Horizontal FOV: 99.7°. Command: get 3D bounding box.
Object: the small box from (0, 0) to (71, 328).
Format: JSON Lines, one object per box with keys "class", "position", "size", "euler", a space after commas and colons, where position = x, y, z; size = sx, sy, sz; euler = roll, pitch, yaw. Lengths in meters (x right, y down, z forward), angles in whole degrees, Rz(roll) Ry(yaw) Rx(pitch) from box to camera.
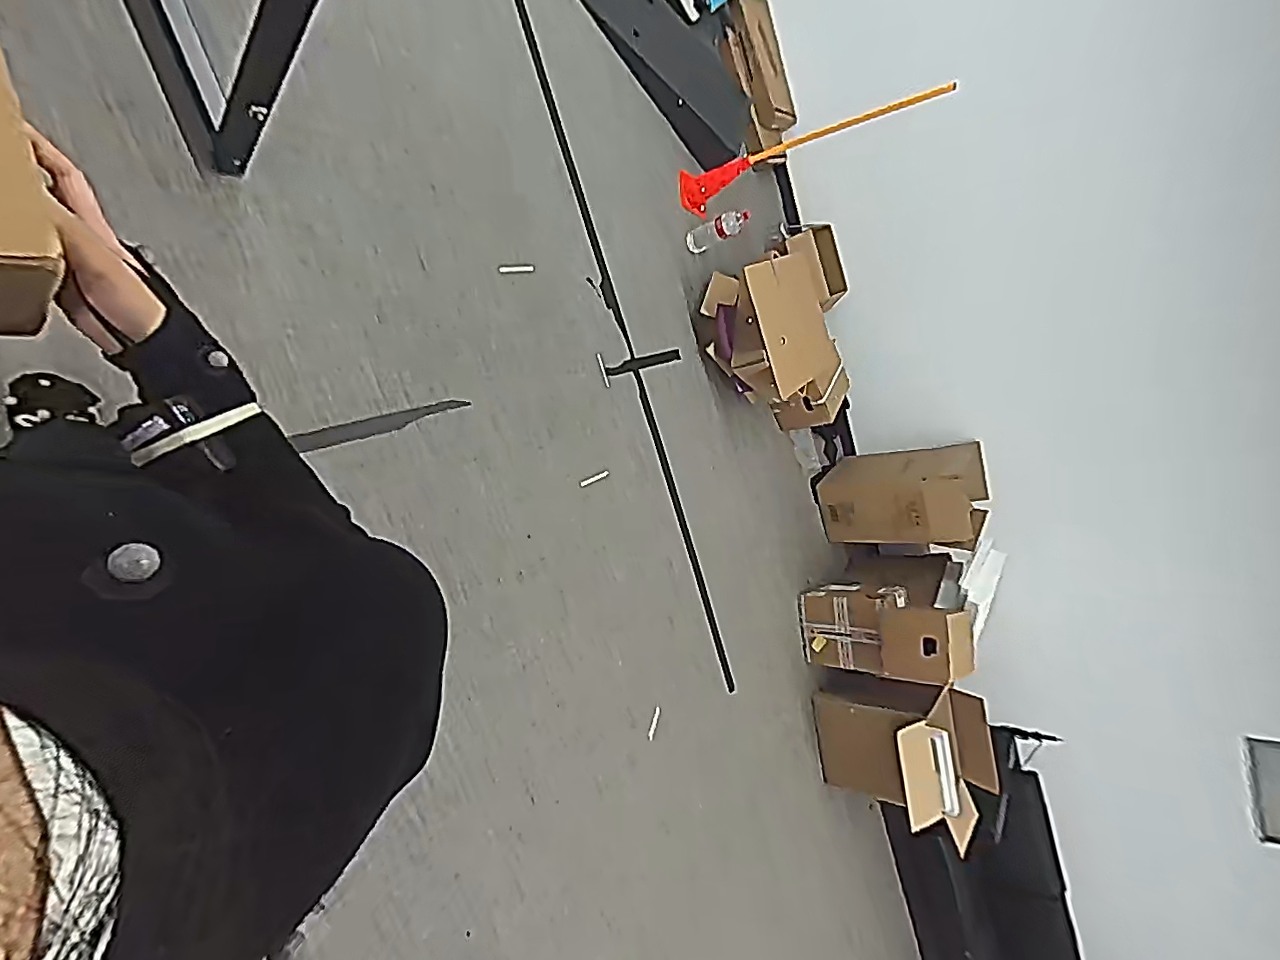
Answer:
{"class": "small box", "position": [-0.426, -0.176, 0.265], "size": [0.168, 0.176, 0.179], "euler": [-19, 103, -52]}
